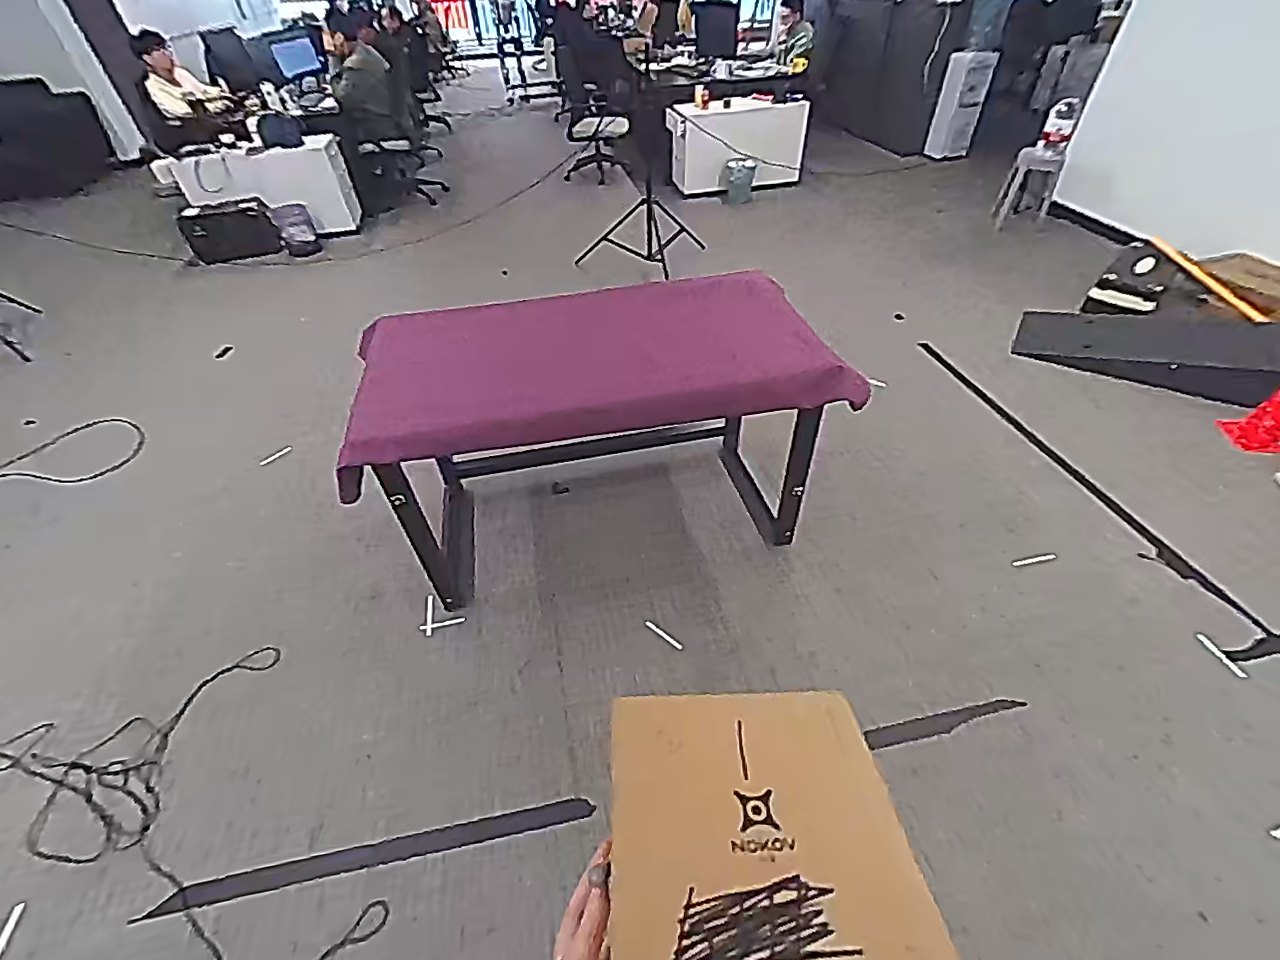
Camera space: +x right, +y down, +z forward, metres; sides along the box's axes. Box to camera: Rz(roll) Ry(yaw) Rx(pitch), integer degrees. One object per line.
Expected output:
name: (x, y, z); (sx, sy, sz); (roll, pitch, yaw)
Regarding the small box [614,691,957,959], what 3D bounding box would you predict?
small box: (0.067, 0.265, 0.349); (0.168, 0.176, 0.179); (0, 31, -3)
